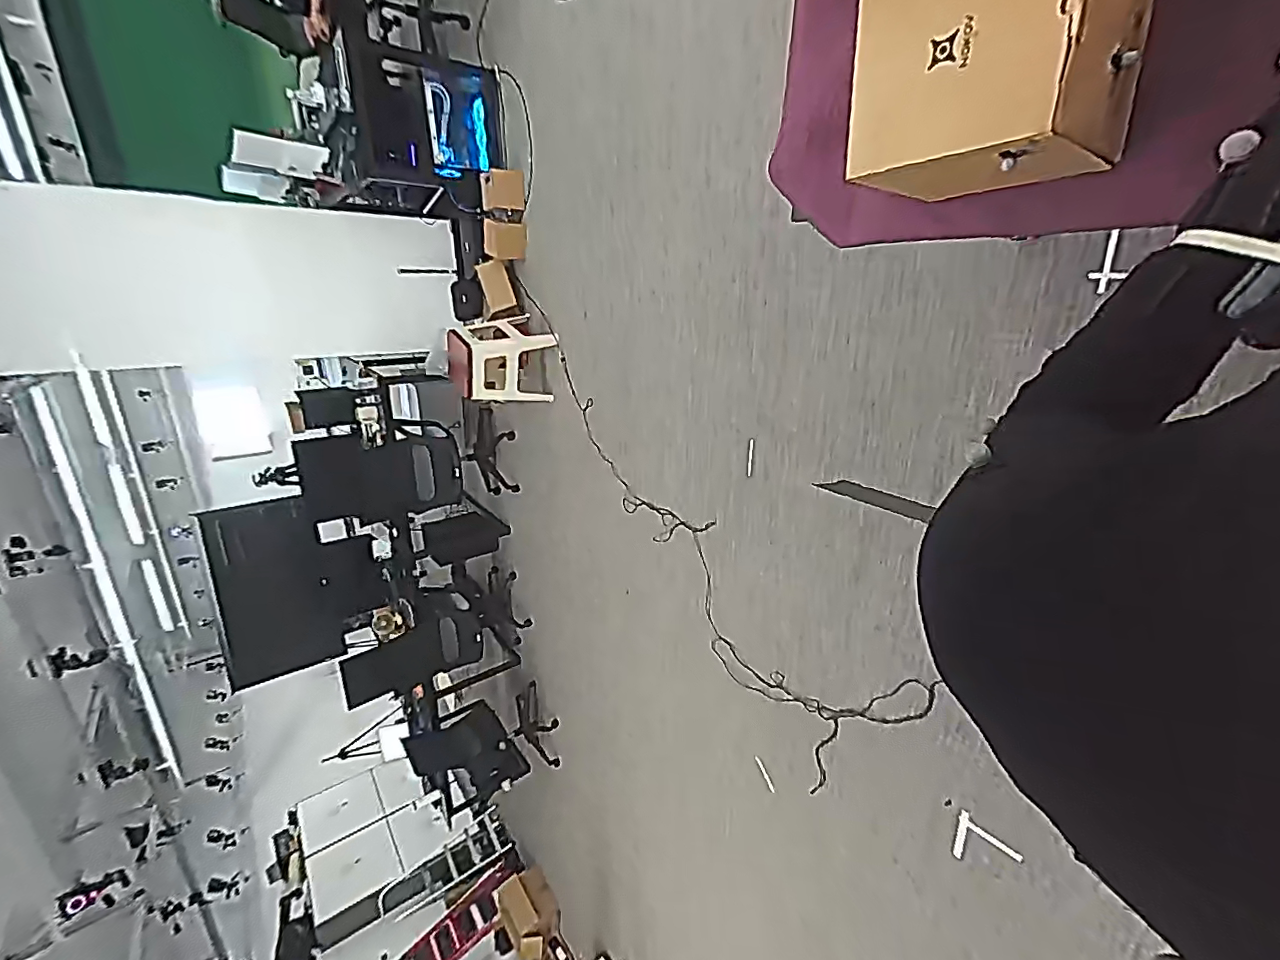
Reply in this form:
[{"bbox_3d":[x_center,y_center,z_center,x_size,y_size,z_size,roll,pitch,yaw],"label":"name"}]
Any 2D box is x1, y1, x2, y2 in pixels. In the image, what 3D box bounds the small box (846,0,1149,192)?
[{"bbox_3d":[0.317,-0.376,0.491,0.179,0.176,0.168,18,115,50],"label":"small box"}]
